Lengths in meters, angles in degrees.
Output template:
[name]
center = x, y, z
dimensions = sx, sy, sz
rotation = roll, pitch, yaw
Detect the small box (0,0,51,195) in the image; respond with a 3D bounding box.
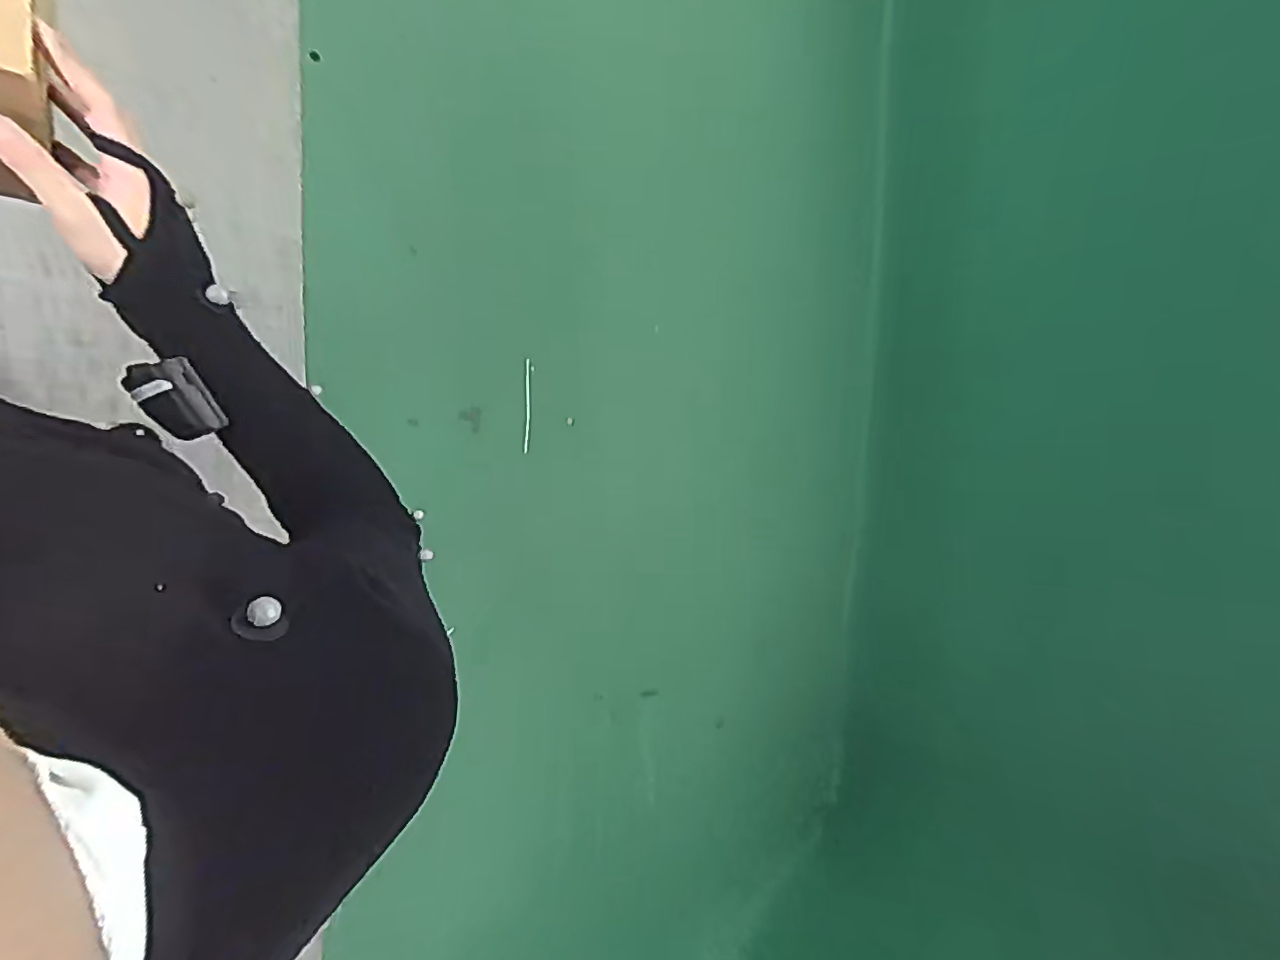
[small box]
center = -0.489, -0.318, 0.328
dimensions = 0.168, 0.176, 0.179
rotation = -2, 86, -43
